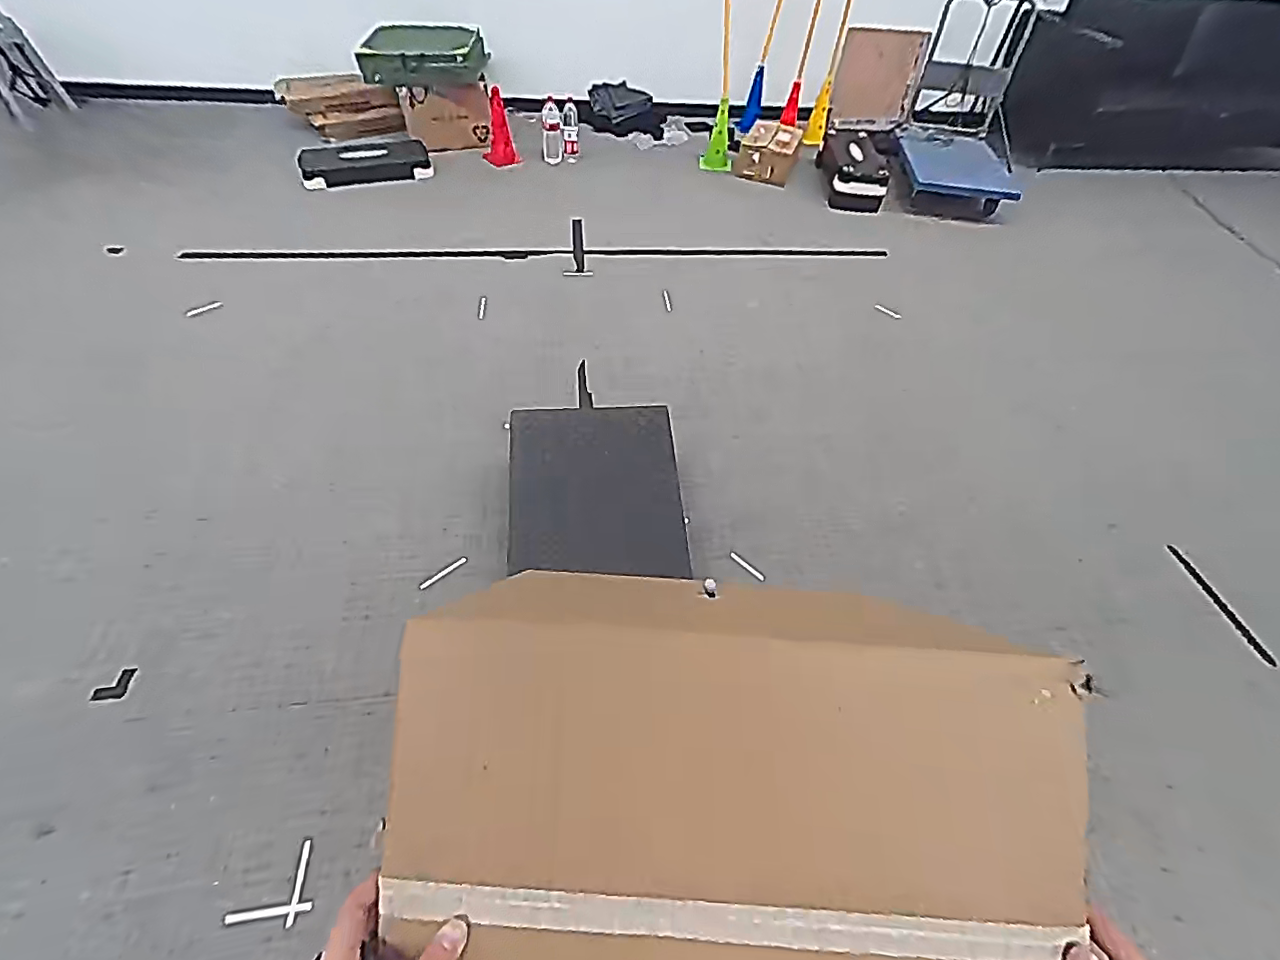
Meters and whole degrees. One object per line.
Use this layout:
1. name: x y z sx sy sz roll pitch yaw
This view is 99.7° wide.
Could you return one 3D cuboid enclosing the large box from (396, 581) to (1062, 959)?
1. large box: 0.052 0.263 0.475 0.408 0.320 0.320 3 87 1
